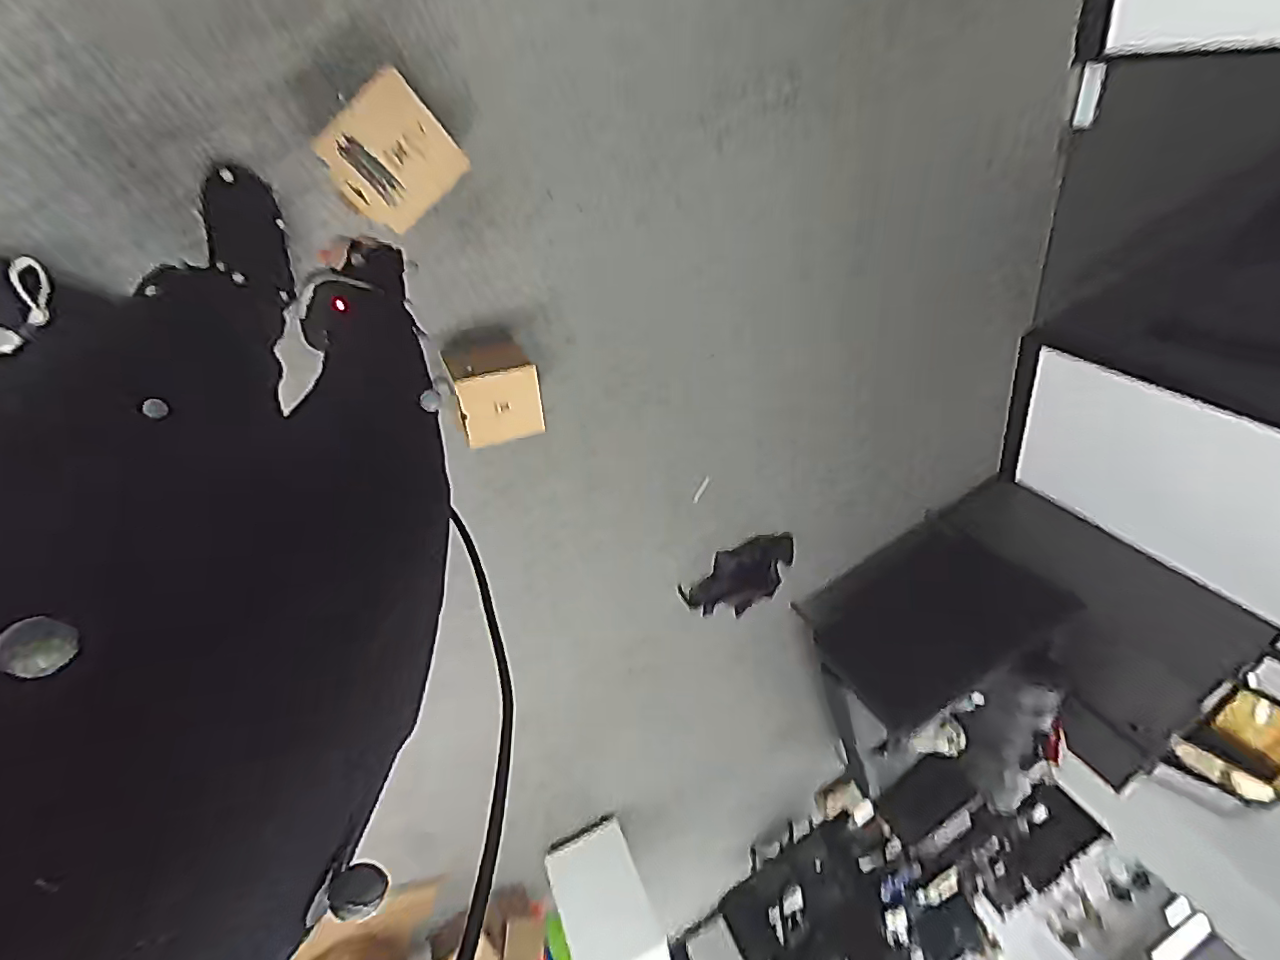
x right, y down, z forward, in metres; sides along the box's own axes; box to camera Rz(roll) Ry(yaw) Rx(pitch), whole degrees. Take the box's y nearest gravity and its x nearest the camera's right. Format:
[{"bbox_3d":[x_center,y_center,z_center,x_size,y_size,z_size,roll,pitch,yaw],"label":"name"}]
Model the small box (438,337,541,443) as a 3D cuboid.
[{"bbox_3d":[-0.342,-0.212,1.228,0.179,0.176,0.168,-16,130,-20],"label":"small box"}]
